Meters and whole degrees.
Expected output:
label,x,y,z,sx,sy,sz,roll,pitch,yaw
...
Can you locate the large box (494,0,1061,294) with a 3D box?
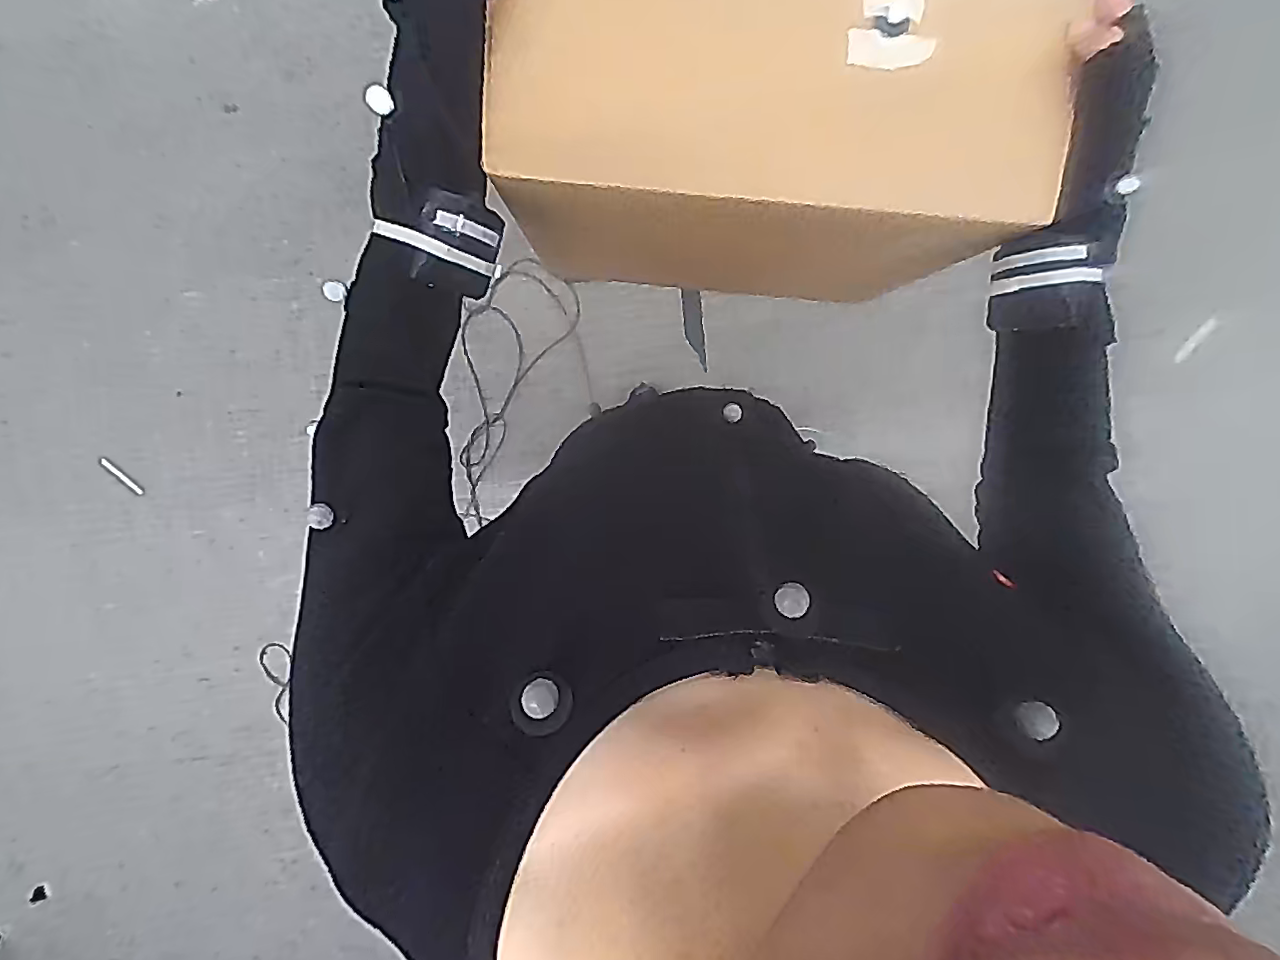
label,x,y,z,sx,sy,sz,roll,pitch,yaw
large box,0.094,-0.378,0.521,0.408,0.320,0.320,3,98,-2
